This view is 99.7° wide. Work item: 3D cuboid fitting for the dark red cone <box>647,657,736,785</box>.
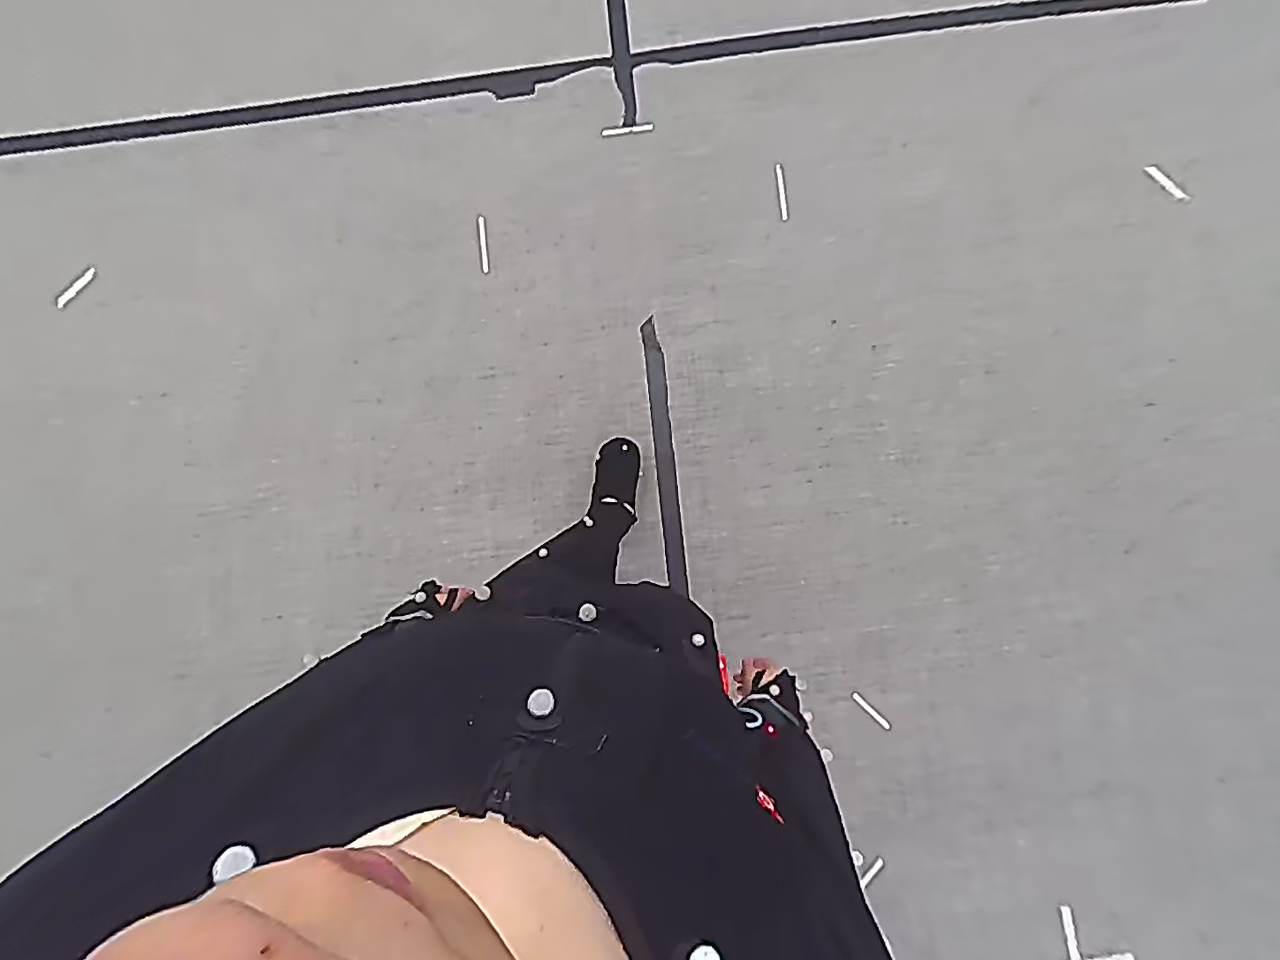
[{"bbox_3d":[0.122,0.527,1.151,0.201,0.394,0.202,-7,87,1],"label":"dark red cone"}]
